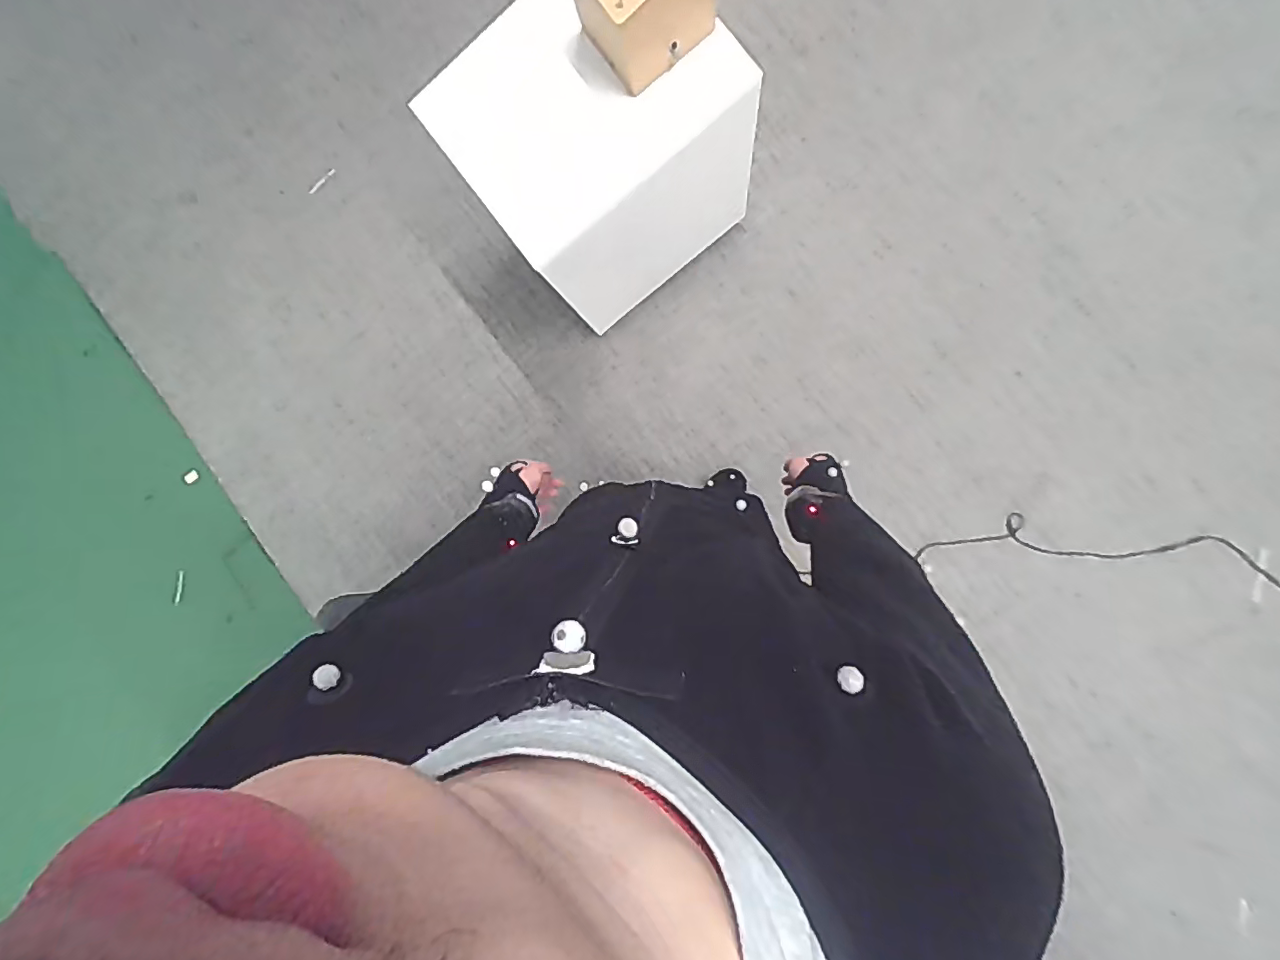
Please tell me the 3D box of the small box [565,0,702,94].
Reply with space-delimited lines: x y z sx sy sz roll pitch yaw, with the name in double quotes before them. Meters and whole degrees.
"small box" -0.013 -0.765 0.837 0.179 0.176 0.168 -37 88 6
